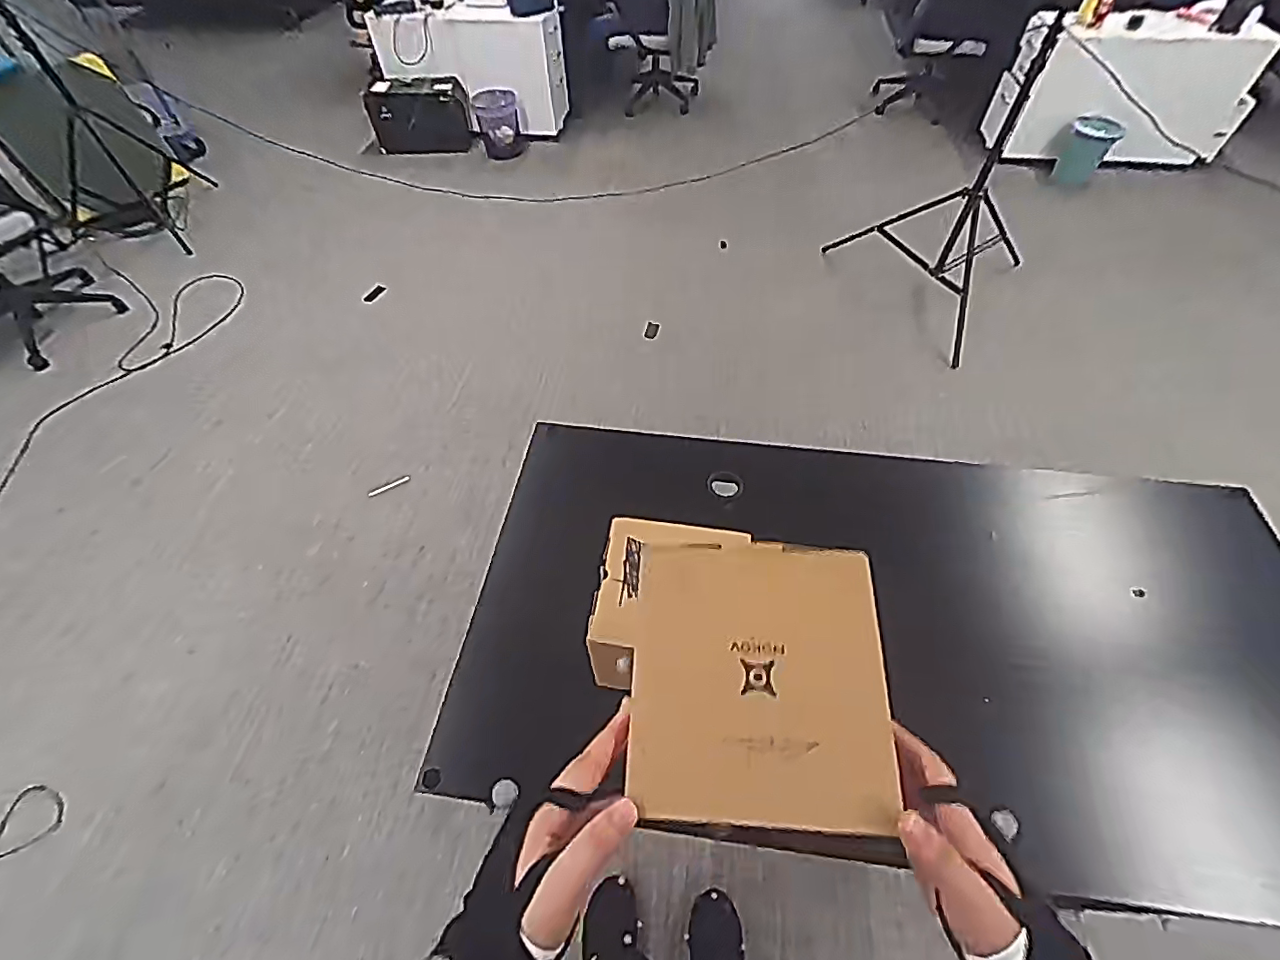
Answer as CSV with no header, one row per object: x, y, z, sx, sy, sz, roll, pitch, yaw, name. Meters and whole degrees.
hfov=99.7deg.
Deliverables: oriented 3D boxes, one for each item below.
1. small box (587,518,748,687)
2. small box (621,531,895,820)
0.039,0.171,0.700,0.179,0.176,0.168,7,54,5,small box
0.076,0.156,0.429,0.168,0.176,0.179,2,63,3,small box
